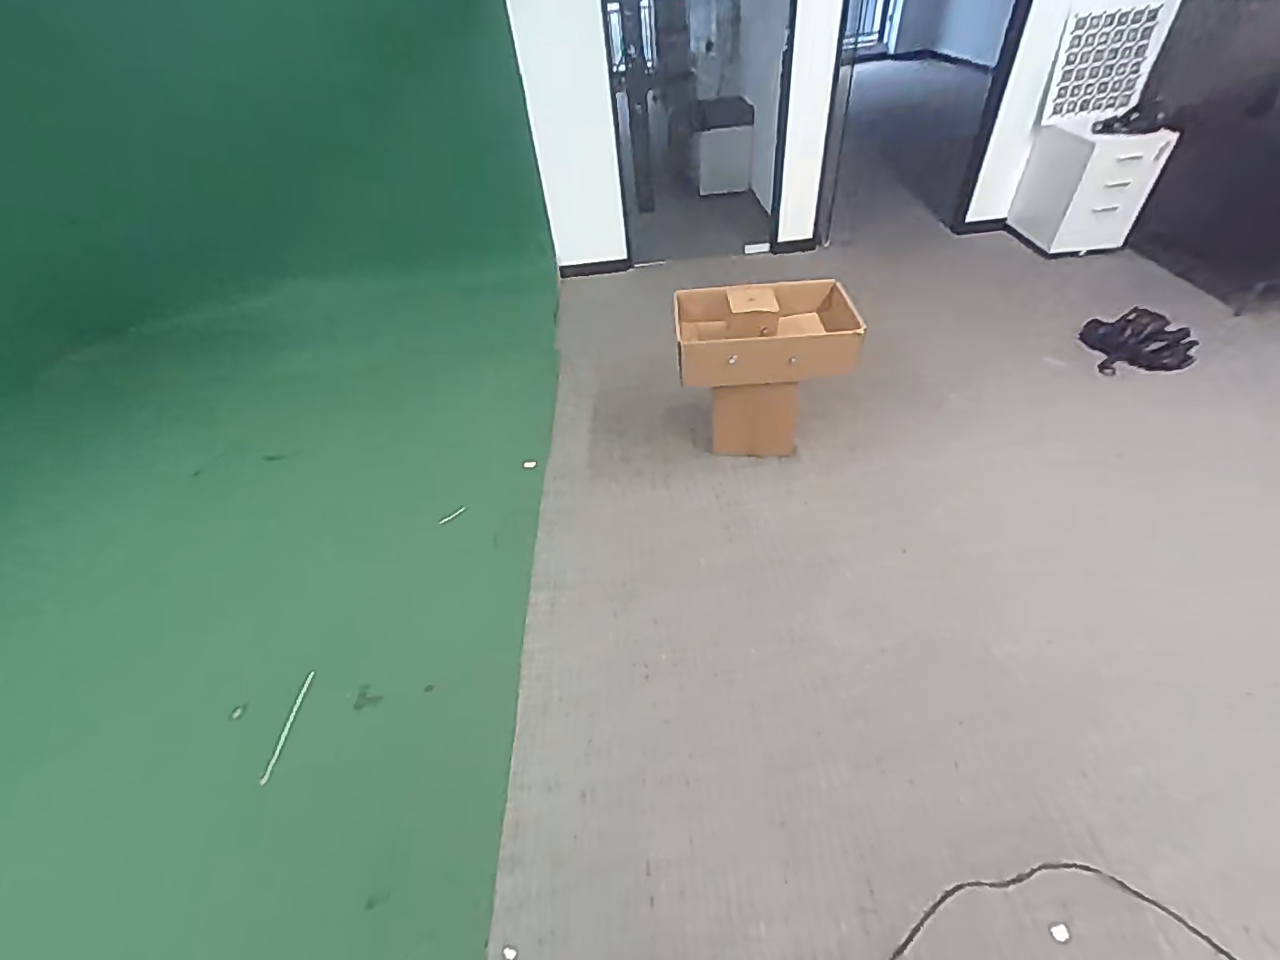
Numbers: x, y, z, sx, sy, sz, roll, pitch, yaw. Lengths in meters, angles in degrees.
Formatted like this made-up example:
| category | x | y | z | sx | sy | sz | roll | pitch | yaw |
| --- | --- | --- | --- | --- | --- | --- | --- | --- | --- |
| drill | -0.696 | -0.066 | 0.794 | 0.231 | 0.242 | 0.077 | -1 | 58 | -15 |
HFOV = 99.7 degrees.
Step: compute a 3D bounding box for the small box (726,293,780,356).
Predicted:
| category | x | y | z | sx | sy | sz | roll | pitch | yaw |
| --- | --- | --- | --- | --- | --- | --- | --- | --- | --- |
| small box | 0.405 | -0.561 | 1.964 | 0.168 | 0.176 | 0.179 | -2 | 41 | 2 |
